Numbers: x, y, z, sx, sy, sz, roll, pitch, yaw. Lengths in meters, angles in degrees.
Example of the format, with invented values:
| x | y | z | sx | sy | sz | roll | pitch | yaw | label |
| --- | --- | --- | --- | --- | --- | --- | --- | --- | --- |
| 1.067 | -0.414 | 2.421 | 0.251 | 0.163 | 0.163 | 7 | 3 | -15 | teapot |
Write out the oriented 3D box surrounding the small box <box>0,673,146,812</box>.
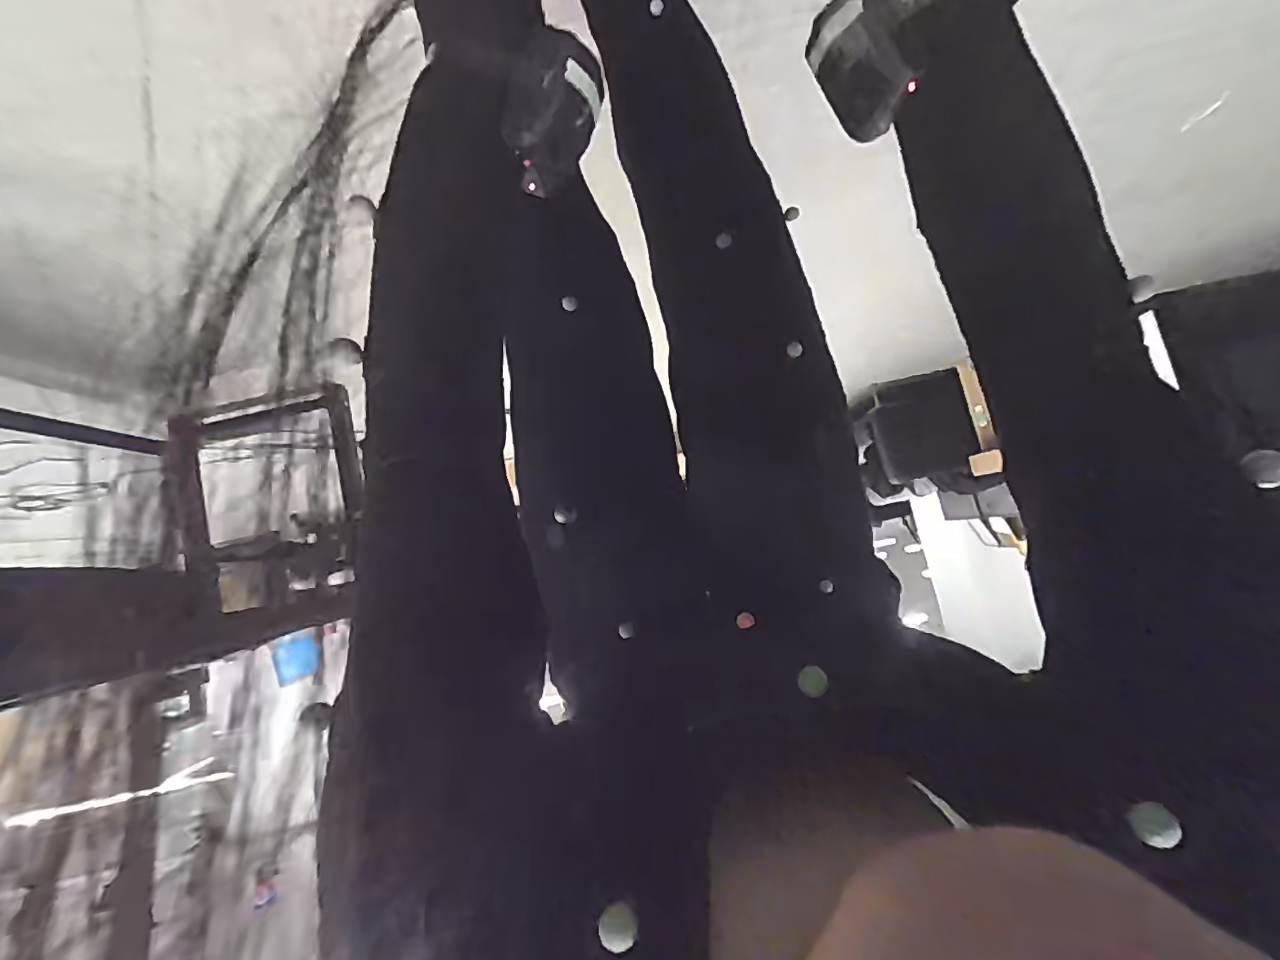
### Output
| x | y | z | sx | sy | sz | roll | pitch | yaw | label |
| --- | --- | --- | --- | --- | --- | --- | --- | --- | --- |
| -1.010 | 0.443 | 0.927 | 0.179 | 0.176 | 0.168 | -12 | 174 | 1 | small box |
